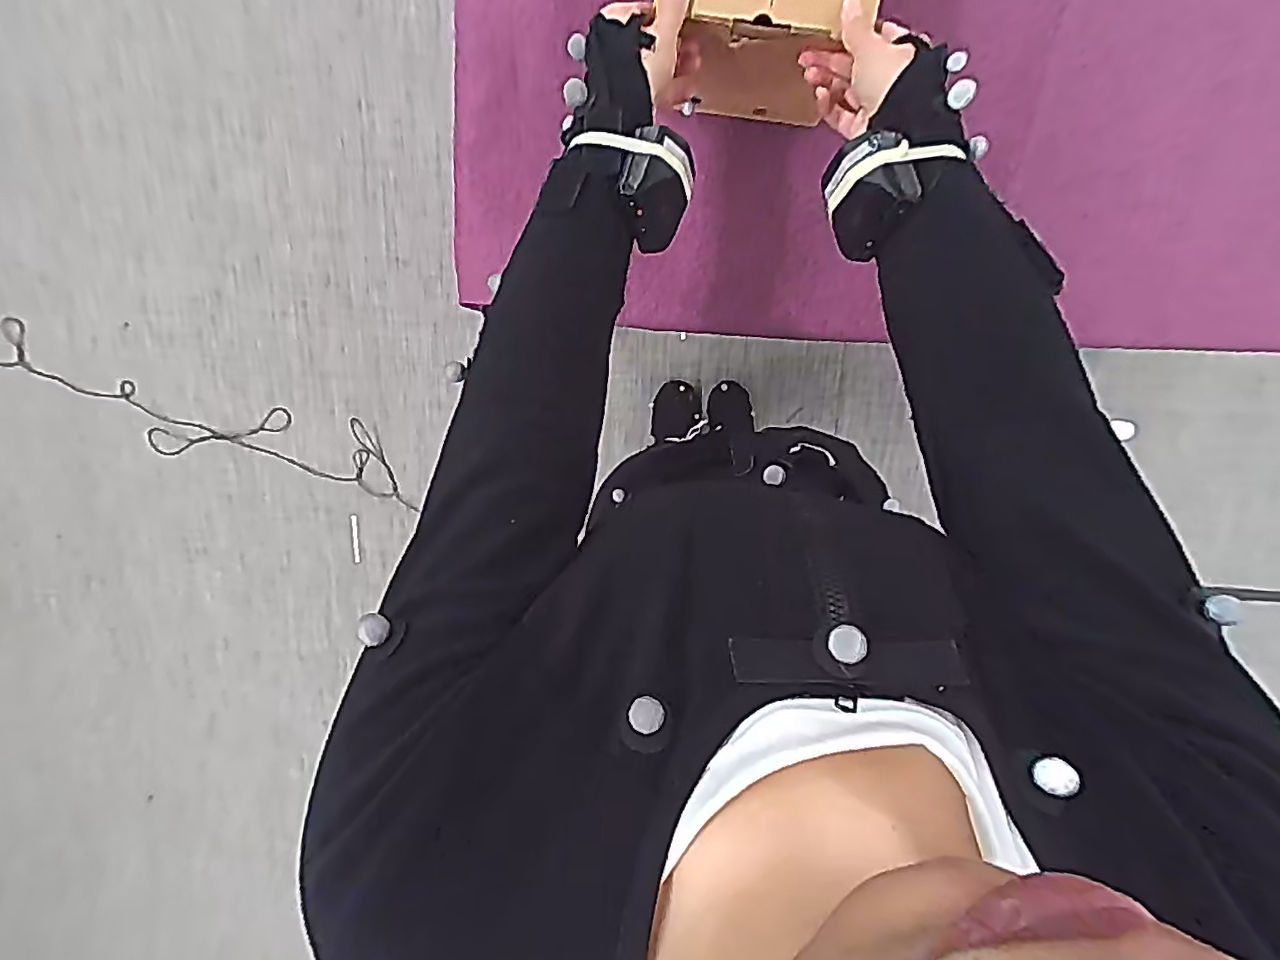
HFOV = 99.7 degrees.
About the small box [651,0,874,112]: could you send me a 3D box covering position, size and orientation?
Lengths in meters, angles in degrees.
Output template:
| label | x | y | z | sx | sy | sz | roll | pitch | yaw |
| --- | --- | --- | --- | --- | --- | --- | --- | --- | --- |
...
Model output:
| label | x | y | z | sx | sy | sz | roll | pitch | yaw |
| --- | --- | --- | --- | --- | --- | --- | --- | --- | --- |
| small box | 0.105 | -0.444 | 0.455 | 0.168 | 0.176 | 0.179 | 8 | 104 | 1 |
